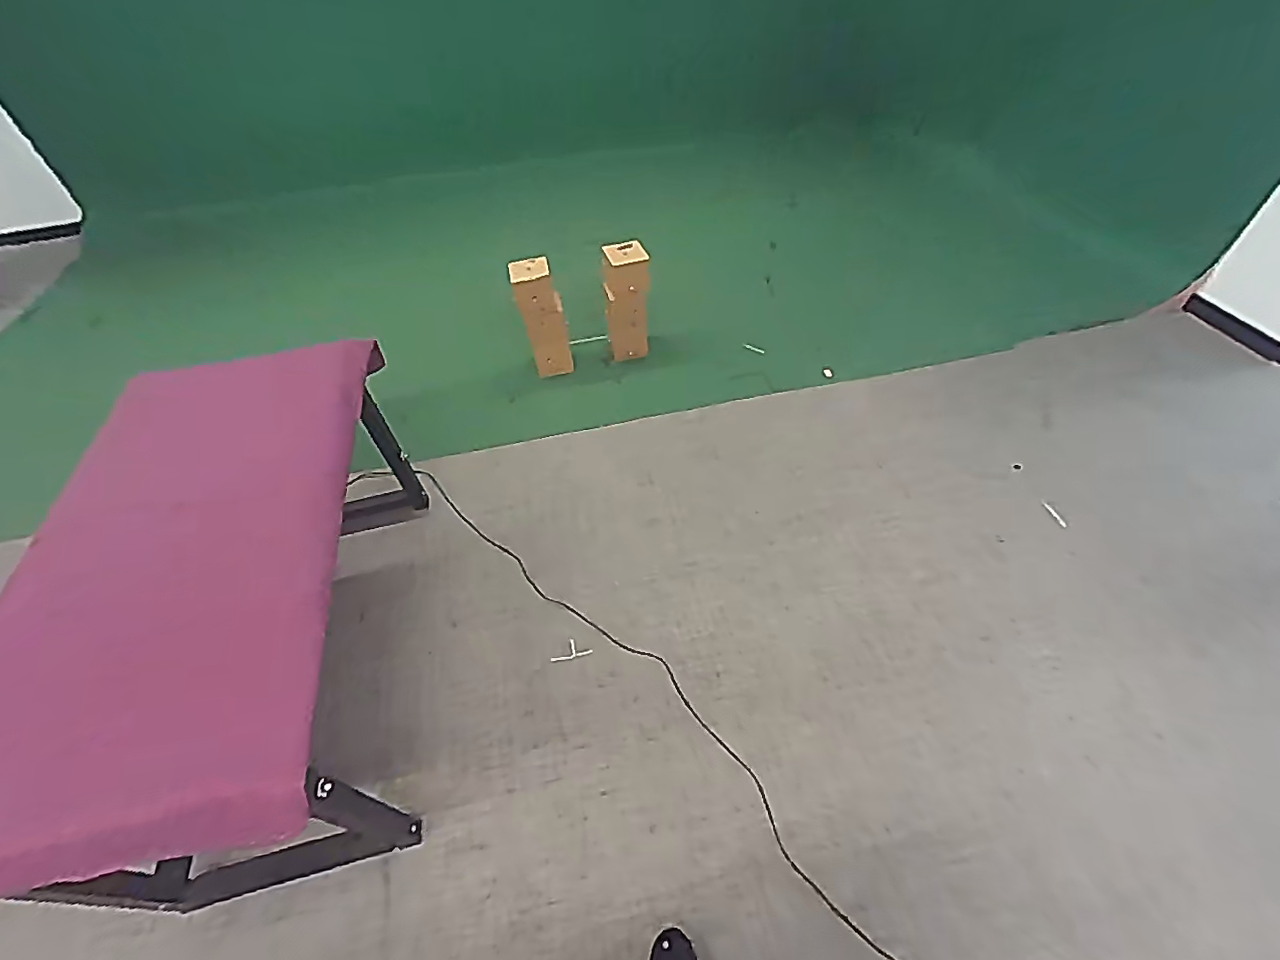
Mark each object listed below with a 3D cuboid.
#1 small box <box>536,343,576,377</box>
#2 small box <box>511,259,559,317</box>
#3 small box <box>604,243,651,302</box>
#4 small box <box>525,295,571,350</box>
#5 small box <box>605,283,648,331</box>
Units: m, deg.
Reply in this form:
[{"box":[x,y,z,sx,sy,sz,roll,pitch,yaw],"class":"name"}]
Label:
[{"box":[-0.408,-0.610,2.593,0.168,0.176,0.179,-13,49,-6],"class":"small box"},{"box":[-0.455,-0.827,2.350,0.168,0.176,0.179,-13,50,-5],"class":"small box"},{"box":[-0.053,-0.919,2.394,0.168,0.176,0.179,-16,52,-10],"class":"small box"},{"box":[-0.421,-0.713,2.466,0.179,0.176,0.168,-13,49,-6],"class":"small box"},{"box":[-0.060,-0.810,2.517,0.168,0.176,0.179,-12,50,-7],"class":"small box"}]
